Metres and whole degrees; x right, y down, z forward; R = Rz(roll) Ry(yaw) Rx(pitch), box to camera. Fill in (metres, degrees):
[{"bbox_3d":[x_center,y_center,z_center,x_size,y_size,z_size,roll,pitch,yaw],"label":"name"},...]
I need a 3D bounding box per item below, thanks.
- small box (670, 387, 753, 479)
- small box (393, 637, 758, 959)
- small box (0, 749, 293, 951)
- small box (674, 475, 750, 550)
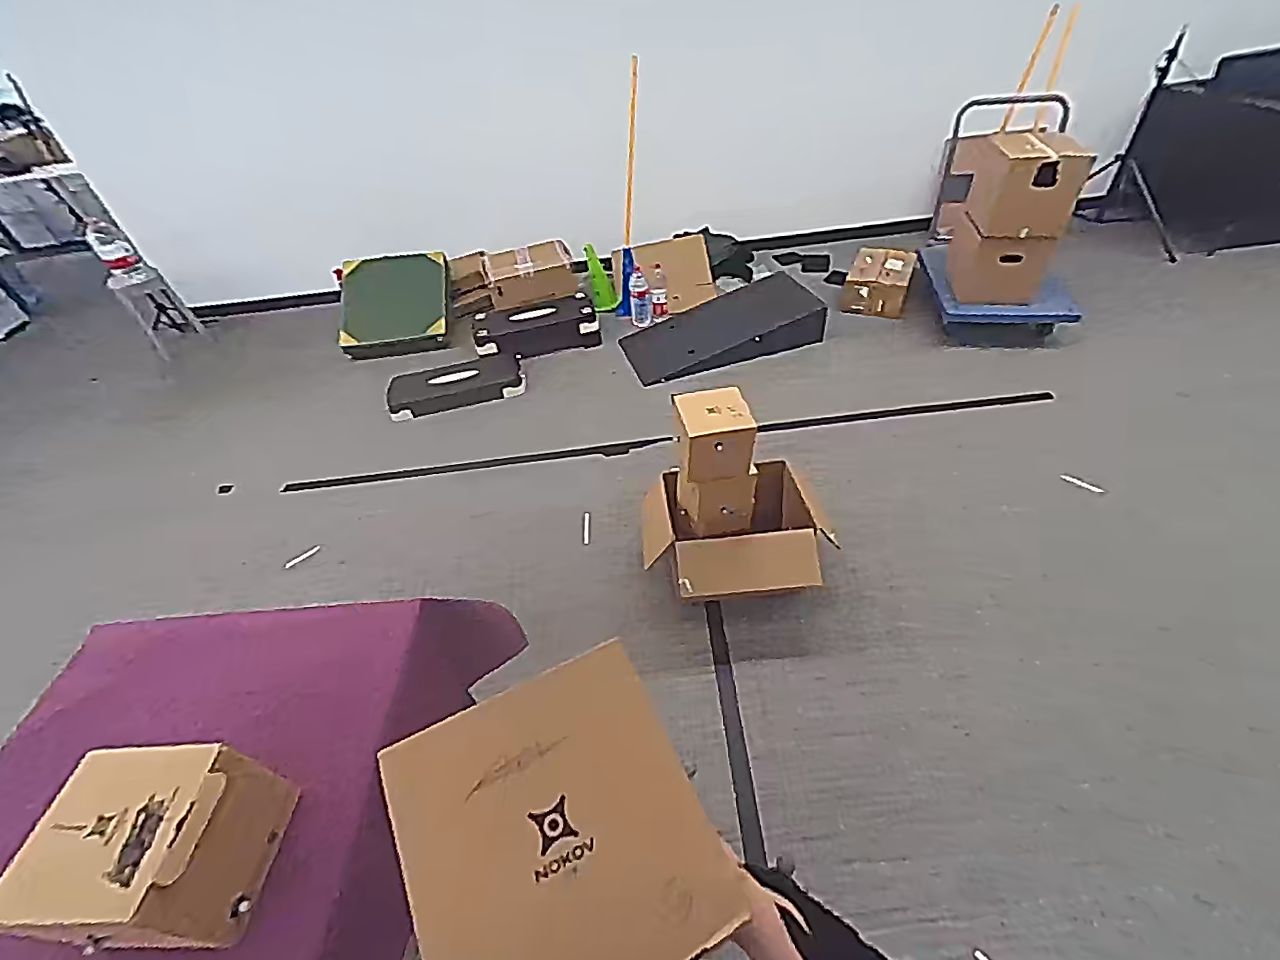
[{"bbox_3d":[0.180,-0.119,1.418,0.179,0.176,0.168,-9,48,-7],"label":"small box"},{"bbox_3d":[-0.046,0.244,0.380,0.168,0.176,0.179,-21,59,-17],"label":"small box"},{"bbox_3d":[-0.556,0.431,0.631,0.179,0.176,0.168,-5,44,5],"label":"small box"},{"bbox_3d":[0.218,0.089,1.672,0.179,0.176,0.168,-19,48,-16],"label":"small box"}]
